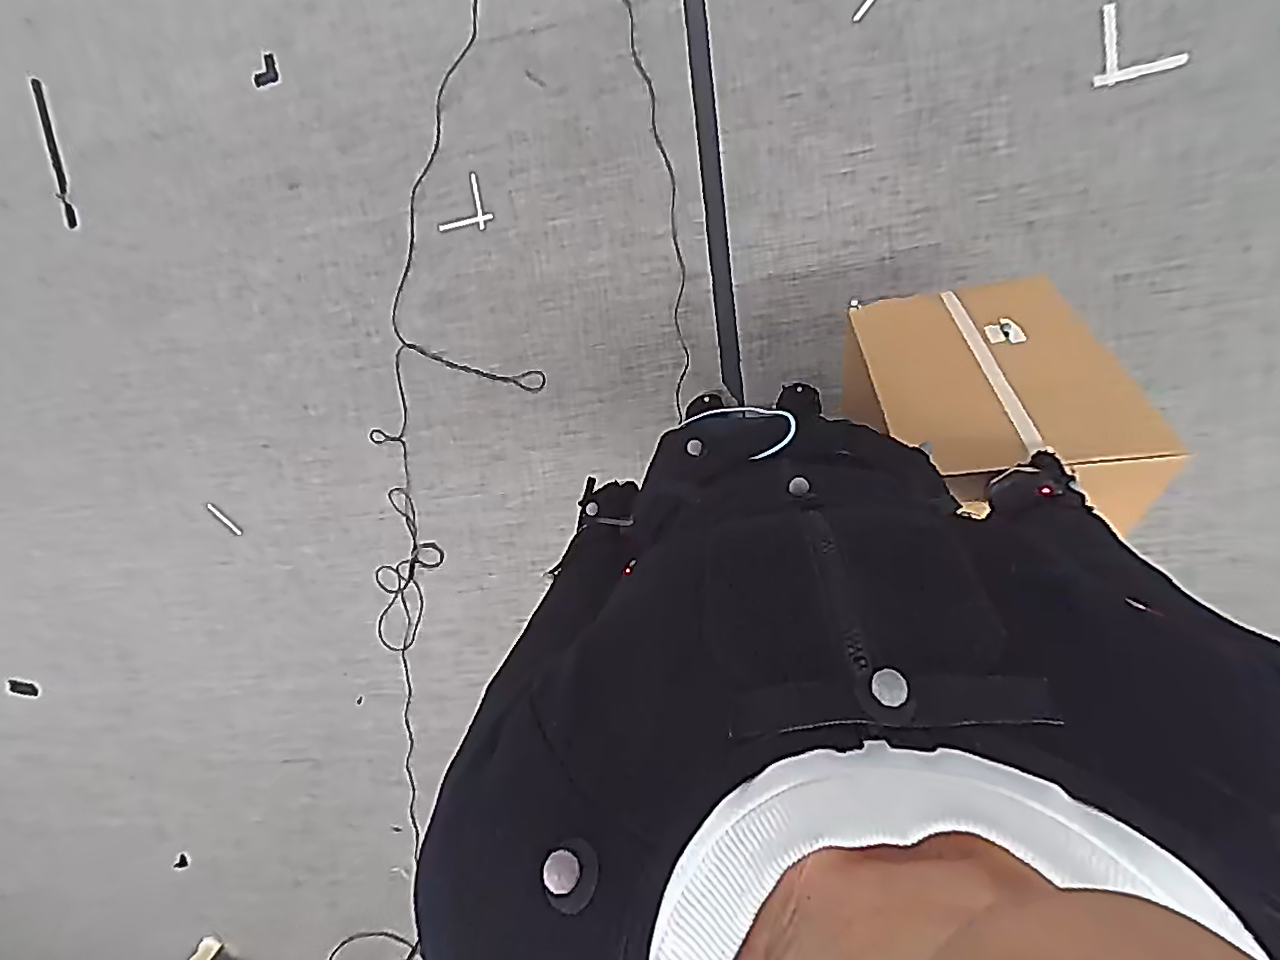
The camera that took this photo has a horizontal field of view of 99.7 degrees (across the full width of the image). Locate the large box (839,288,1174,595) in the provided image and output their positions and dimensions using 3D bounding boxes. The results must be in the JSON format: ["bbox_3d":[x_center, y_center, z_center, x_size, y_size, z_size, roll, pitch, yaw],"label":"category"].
[{"bbox_3d":[0.541,-0.063,0.917,0.320,0.408,0.320,-6,137,11],"label":"large box"}]
